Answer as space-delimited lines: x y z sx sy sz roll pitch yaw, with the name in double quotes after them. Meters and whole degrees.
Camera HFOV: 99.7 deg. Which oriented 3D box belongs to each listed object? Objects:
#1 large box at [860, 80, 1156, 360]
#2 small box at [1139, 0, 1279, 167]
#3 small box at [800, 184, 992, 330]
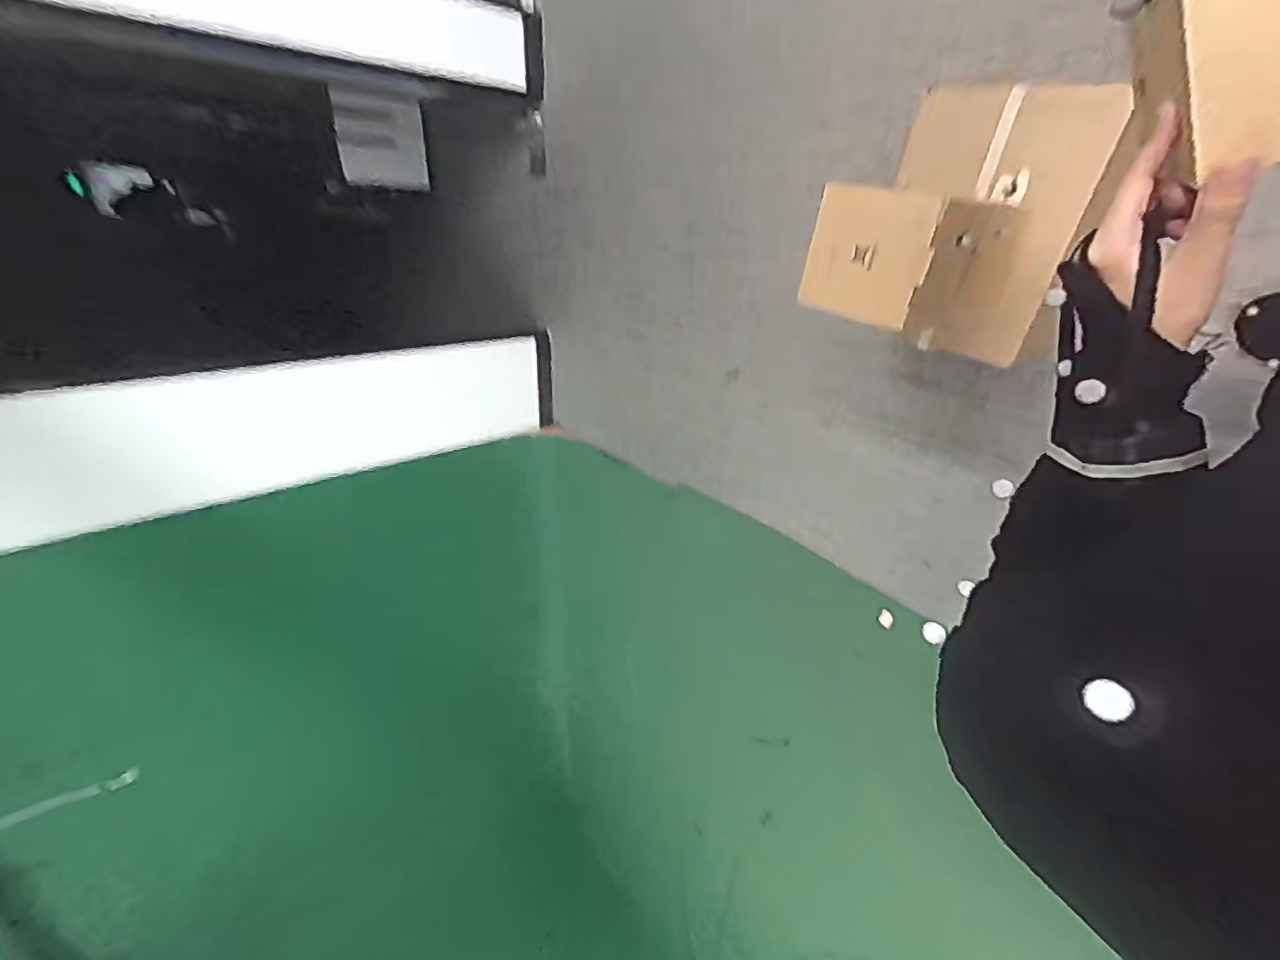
0.682 -0.474 1.021 0.320 0.320 0.408 34 128 39 "large box"
0.366 -0.272 0.258 0.179 0.176 0.168 -10 111 37 "small box"
0.373 -0.329 0.794 0.179 0.176 0.168 35 128 41 "small box"
